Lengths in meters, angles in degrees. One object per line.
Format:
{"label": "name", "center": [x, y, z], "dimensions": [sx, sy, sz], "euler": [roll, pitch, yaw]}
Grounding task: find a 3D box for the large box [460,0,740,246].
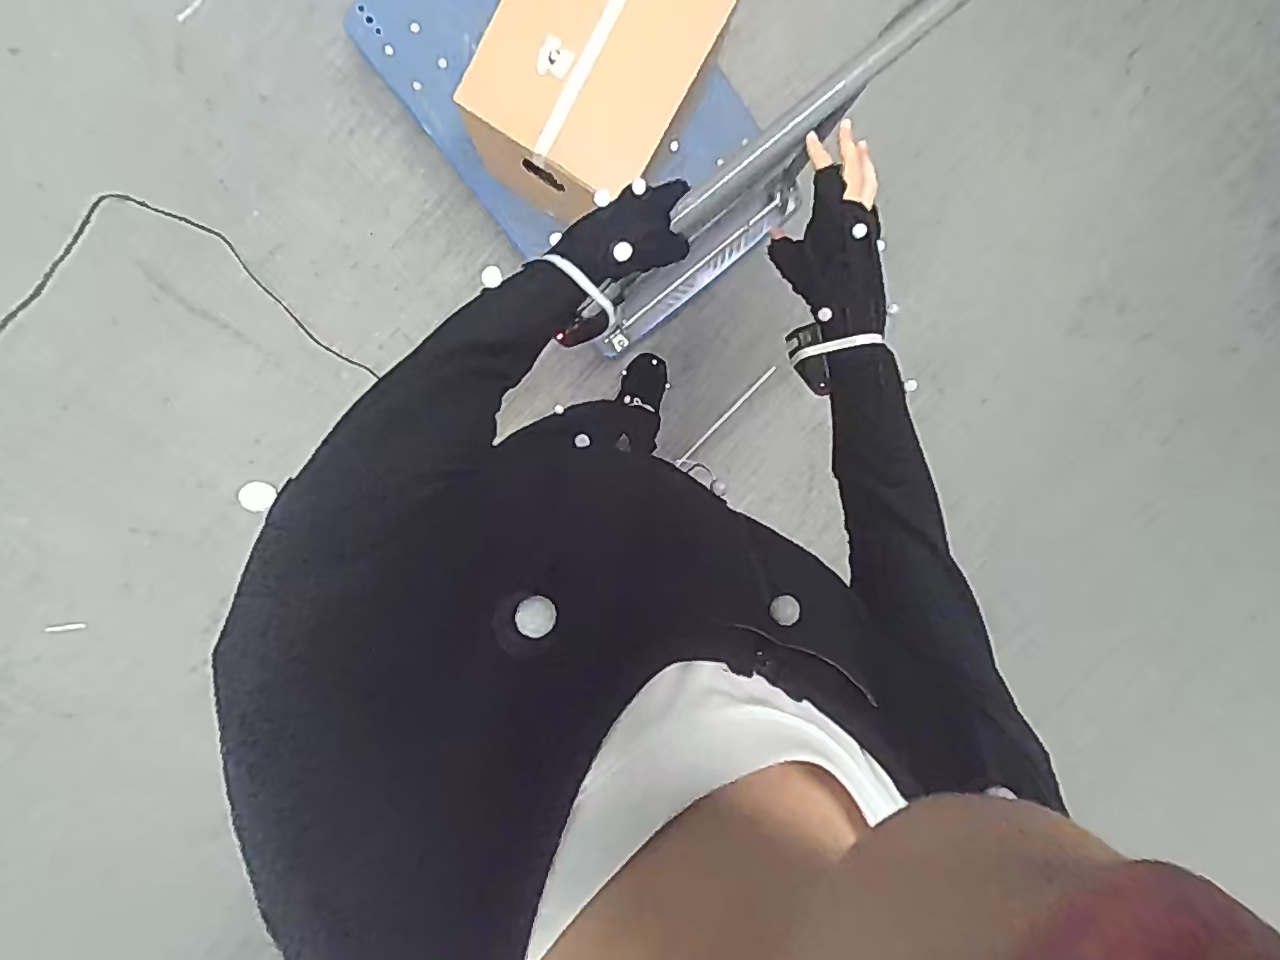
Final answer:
{"label": "large box", "center": [-0.073, -0.726, 1.003], "dimensions": [0.320, 0.320, 0.408], "euler": [30, 97, -9]}
